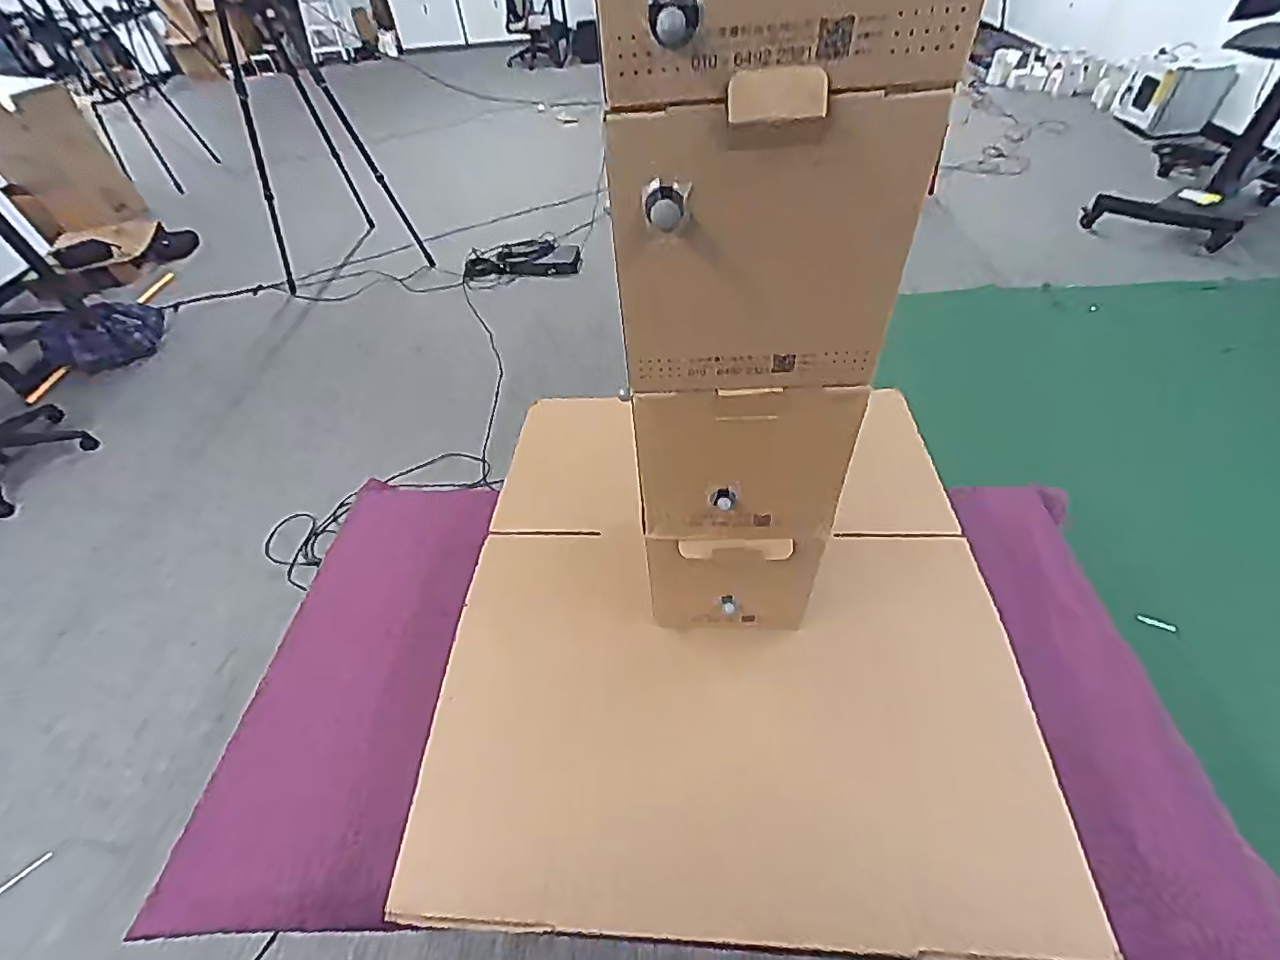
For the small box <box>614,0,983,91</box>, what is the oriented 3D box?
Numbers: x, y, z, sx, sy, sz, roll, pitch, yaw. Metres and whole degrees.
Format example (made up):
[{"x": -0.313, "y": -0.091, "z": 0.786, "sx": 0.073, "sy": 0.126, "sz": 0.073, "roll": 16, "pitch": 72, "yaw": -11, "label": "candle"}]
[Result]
[{"x": 0.066, "y": -0.297, "z": 0.248, "sx": 0.168, "sy": 0.176, "sz": 0.179, "roll": -4, "pitch": 48, "yaw": 1, "label": "small box"}]

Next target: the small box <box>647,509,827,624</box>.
[{"x": 0.098, "y": 0.039, "z": 0.605, "sx": 0.168, "sy": 0.176, "sz": 0.179, "roll": 0, "pitch": 47, "yaw": 6, "label": "small box"}]

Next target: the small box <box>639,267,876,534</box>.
[{"x": 0.087, "y": -0.071, "z": 0.487, "sx": 0.168, "sy": 0.176, "sz": 0.179, "roll": -1, "pitch": 47, "yaw": 4, "label": "small box"}]
